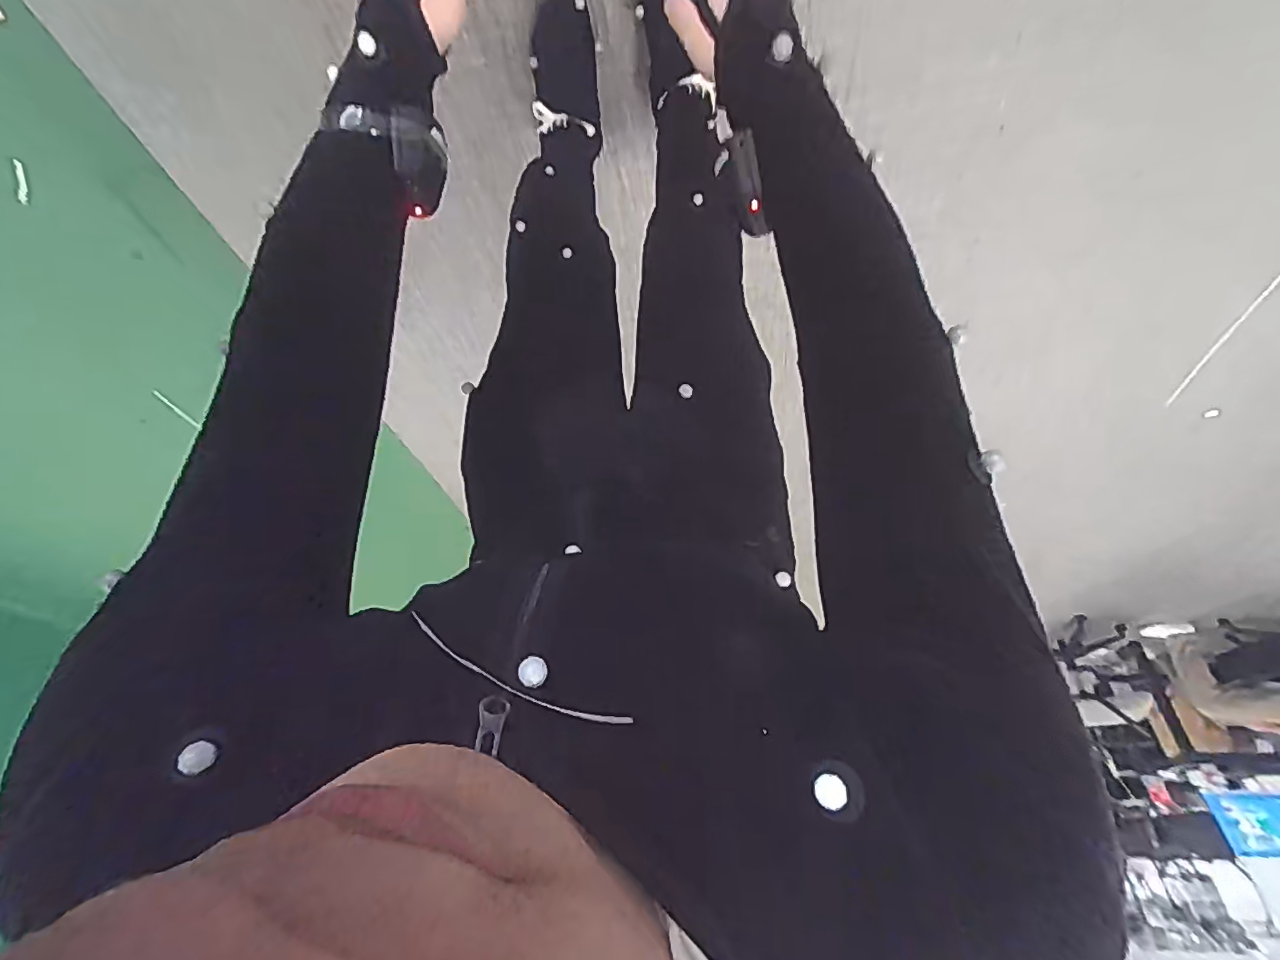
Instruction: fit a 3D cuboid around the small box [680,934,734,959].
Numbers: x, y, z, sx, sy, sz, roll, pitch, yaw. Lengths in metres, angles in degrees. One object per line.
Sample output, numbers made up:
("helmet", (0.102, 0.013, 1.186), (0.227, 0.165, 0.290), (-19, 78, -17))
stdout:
("small box", (0.240, 1.715, 1.895), (0.179, 0.176, 0.168), (-6, 145, 12))
